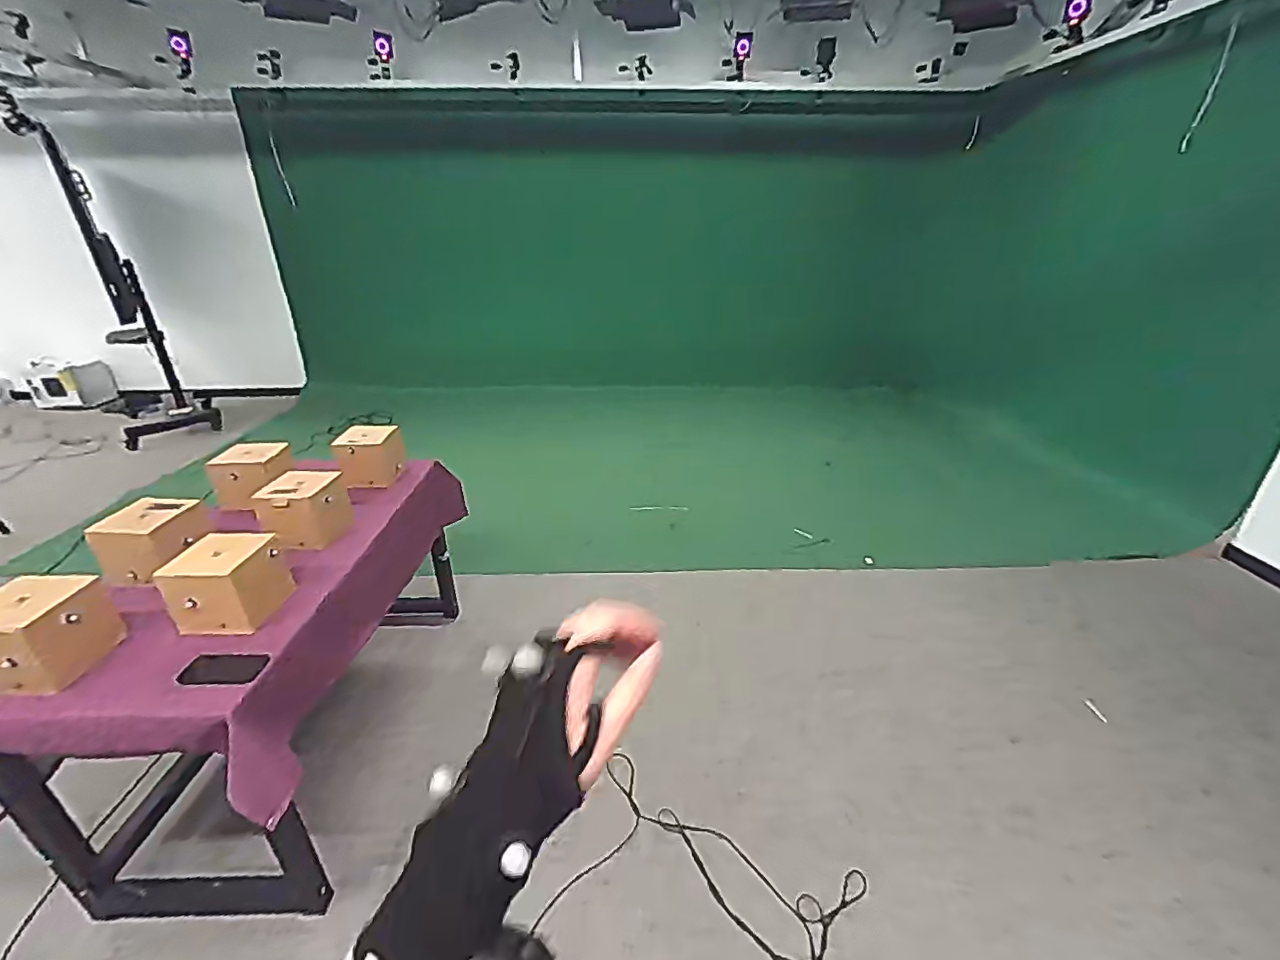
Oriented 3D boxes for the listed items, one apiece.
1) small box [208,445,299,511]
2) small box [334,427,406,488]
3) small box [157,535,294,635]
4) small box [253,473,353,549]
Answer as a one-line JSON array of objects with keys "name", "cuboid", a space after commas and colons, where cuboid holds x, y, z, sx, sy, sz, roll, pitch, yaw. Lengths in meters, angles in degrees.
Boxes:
[{"name": "small box", "cuboid": [-1.258, -0.007, 1.780, 0.179, 0.176, 0.168, -2, 26, -3]}, {"name": "small box", "cuboid": [-0.954, -0.081, 1.929, 0.168, 0.176, 0.179, -2, 26, -1]}, {"name": "small box", "cuboid": [-0.949, 0.244, 1.261, 0.168, 0.176, 0.179, 0, 25, 1]}, {"name": "small box", "cuboid": [-0.969, 0.090, 1.578, 0.168, 0.176, 0.179, 1, 25, 2]}]
